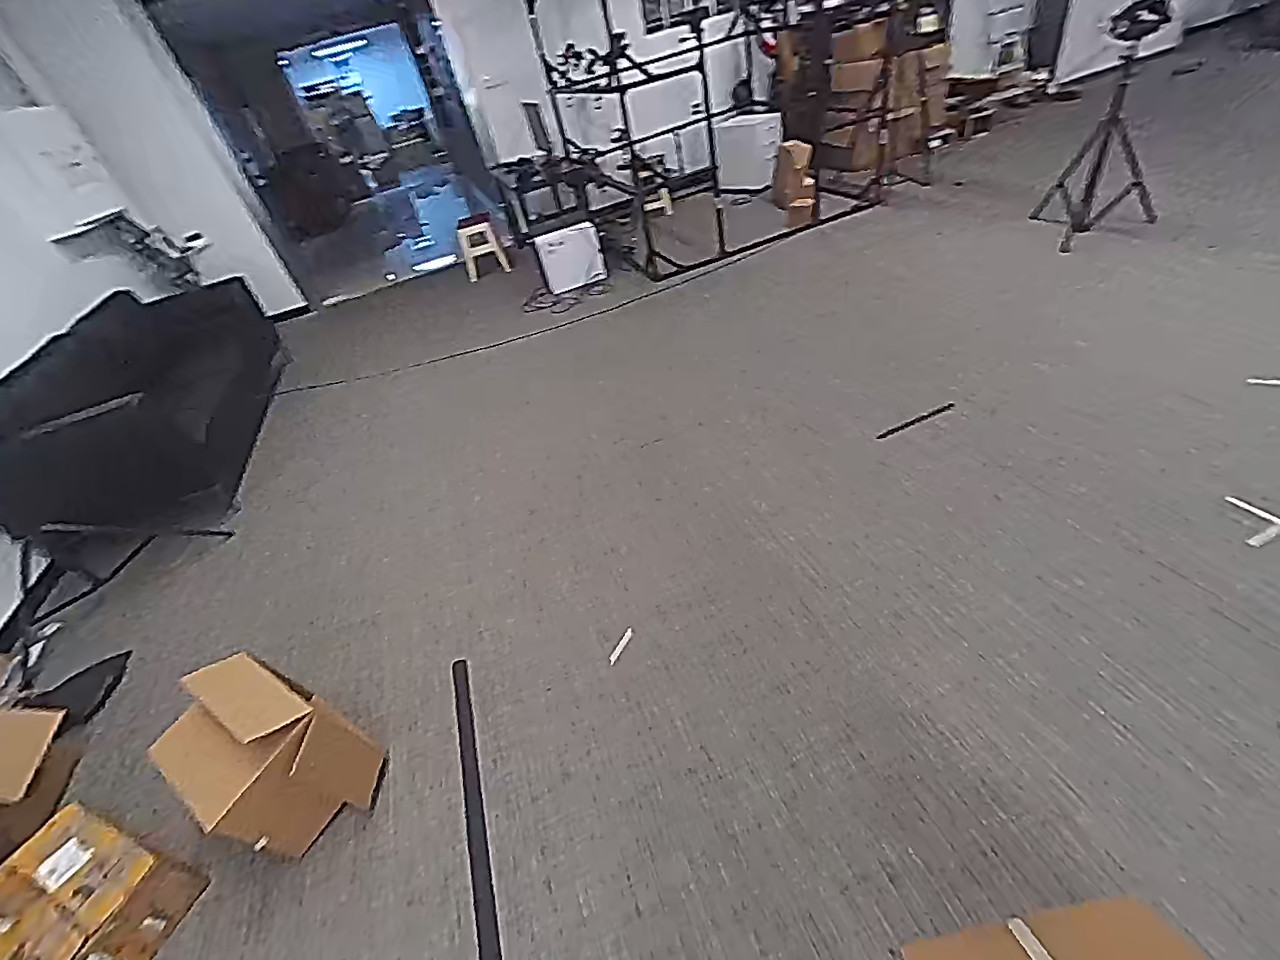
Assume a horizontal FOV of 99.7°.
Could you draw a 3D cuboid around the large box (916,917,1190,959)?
[{"bbox_3d":[0.519,0.731,0.502,0.320,0.320,0.408,-18,-8,6],"label":"large box"}]
